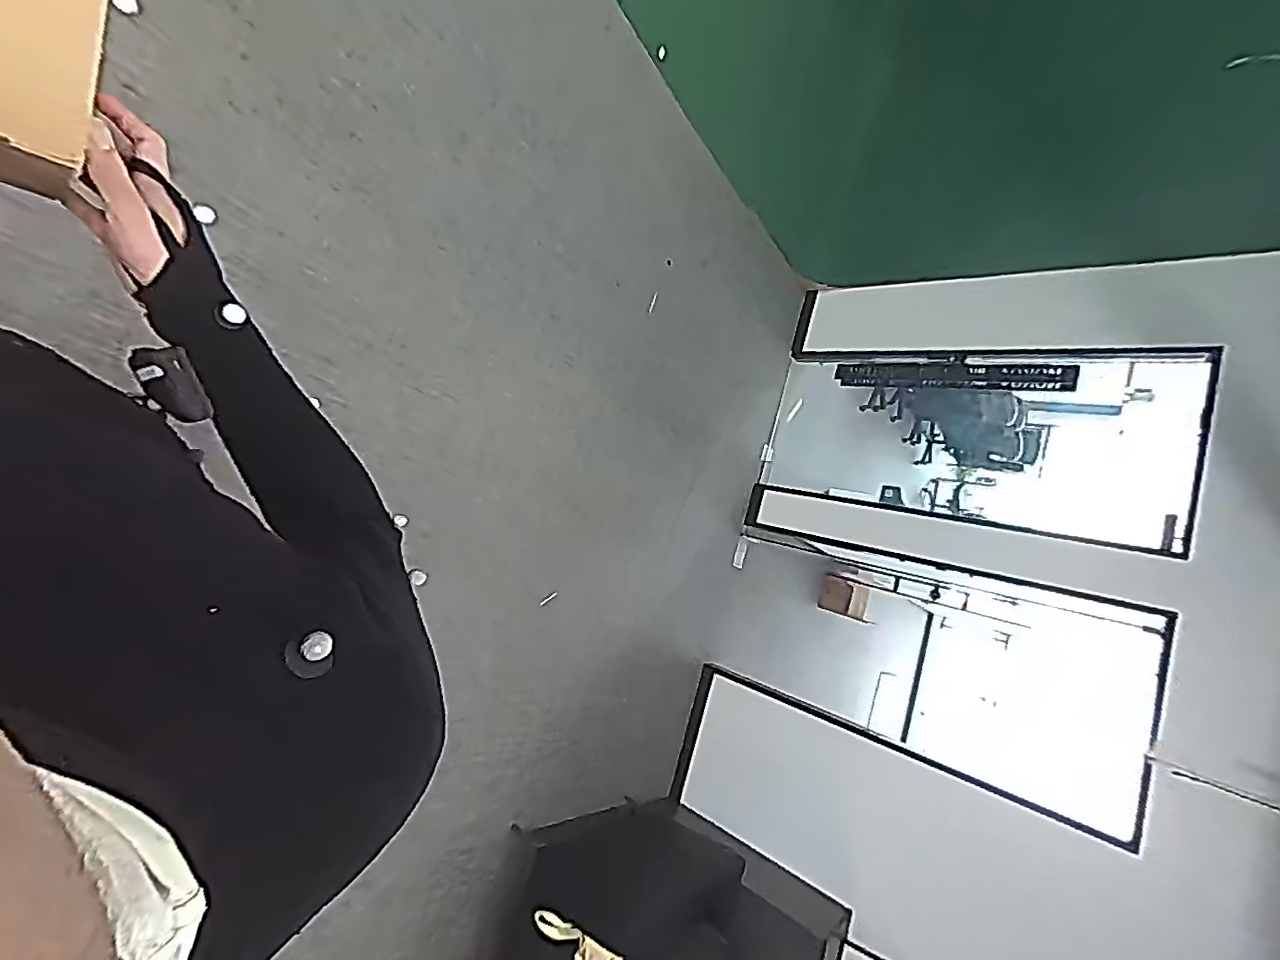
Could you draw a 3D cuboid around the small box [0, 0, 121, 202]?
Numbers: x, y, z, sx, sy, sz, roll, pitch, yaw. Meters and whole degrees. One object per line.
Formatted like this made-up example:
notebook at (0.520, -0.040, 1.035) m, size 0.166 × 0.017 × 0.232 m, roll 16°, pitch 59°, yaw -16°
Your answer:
small box at (-0.455, -0.303, 0.336) m, size 0.168 × 0.176 × 0.179 m, roll 9°, pitch 95°, yaw -52°
